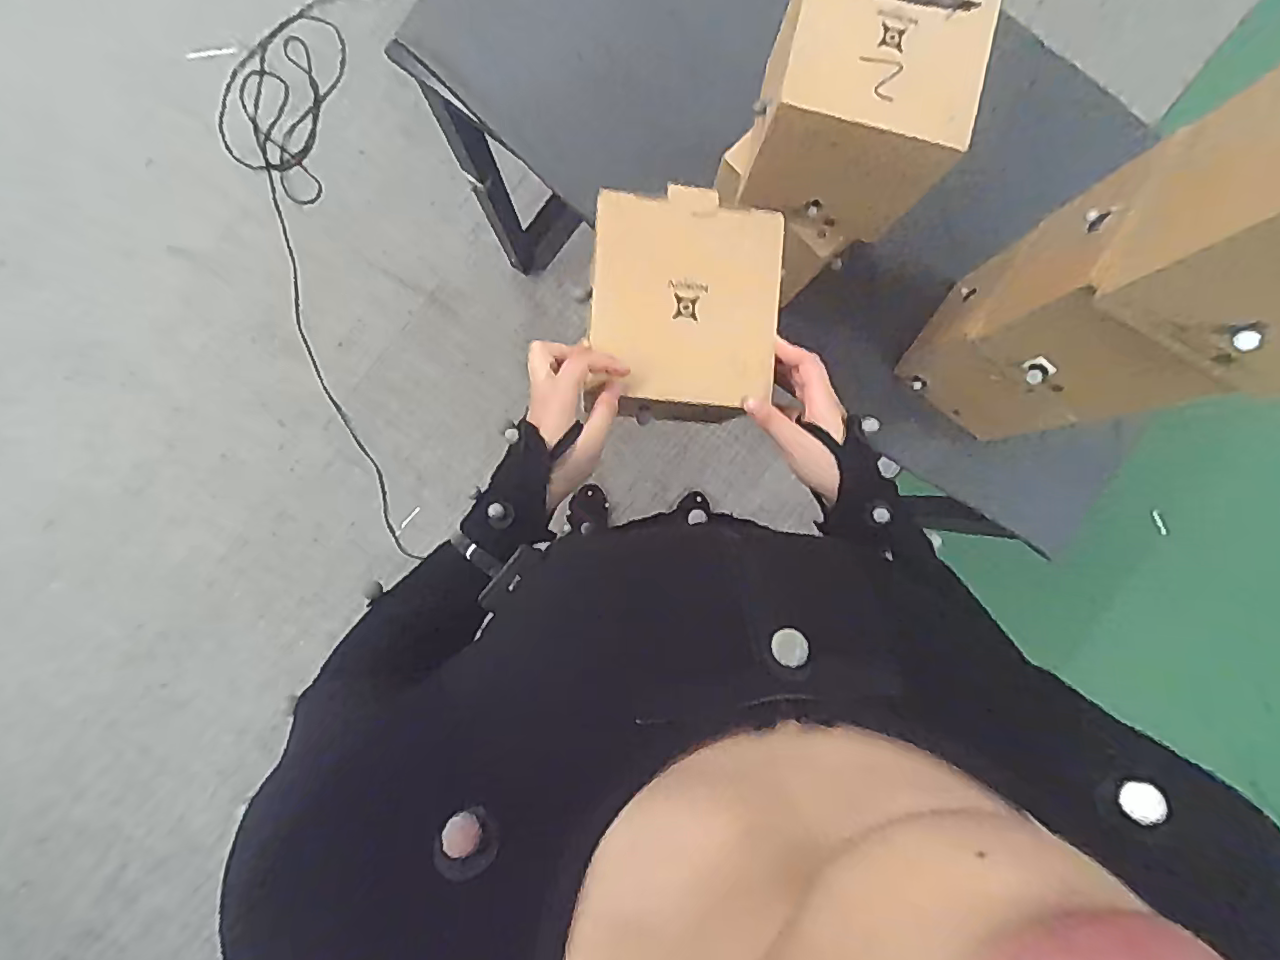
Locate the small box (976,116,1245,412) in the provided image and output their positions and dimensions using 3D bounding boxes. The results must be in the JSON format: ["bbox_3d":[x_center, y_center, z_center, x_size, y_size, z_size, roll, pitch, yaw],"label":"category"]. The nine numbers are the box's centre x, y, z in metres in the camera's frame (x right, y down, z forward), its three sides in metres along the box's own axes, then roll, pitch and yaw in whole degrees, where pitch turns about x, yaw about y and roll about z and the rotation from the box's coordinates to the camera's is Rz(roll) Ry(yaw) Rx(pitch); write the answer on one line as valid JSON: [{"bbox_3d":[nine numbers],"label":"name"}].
[{"bbox_3d":[0.483,-0.191,0.533,0.168,0.176,0.179,33,87,1],"label":"small box"}]

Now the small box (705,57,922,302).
[{"bbox_3d":[0.205,-0.368,0.694,0.179,0.176,0.168,-44,90,-4],"label":"small box"}]

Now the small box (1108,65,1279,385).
[{"bbox_3d":[0.485,-0.192,0.368,0.168,0.176,0.179,30,86,1],"label":"small box"}]
